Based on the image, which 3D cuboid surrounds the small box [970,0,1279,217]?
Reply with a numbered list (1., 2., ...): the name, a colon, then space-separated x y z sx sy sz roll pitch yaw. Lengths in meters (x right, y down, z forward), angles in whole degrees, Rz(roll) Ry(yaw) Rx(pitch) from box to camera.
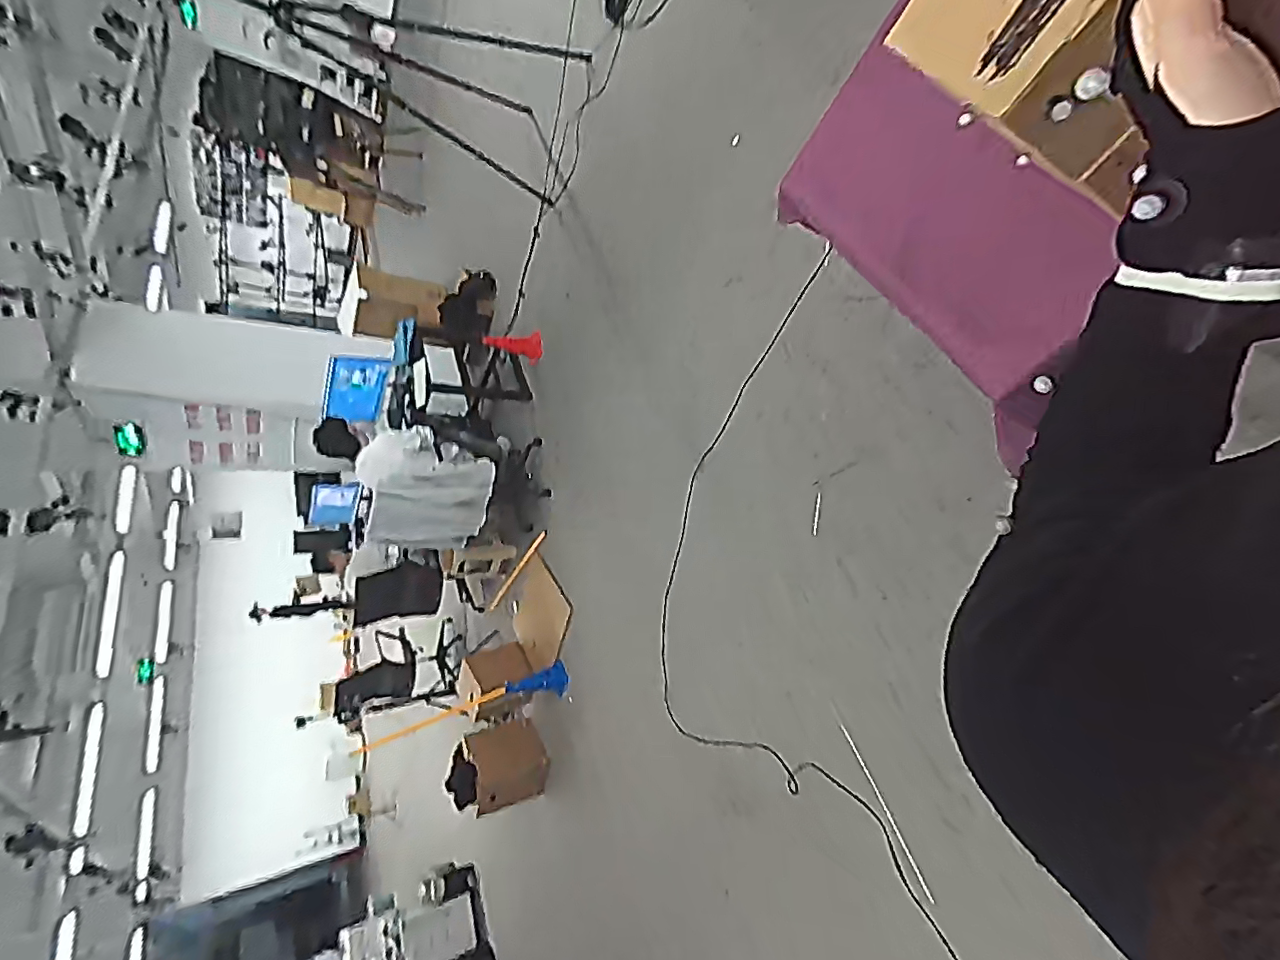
1. small box: 0.517 -0.419 0.588 0.168 0.176 0.179 -53 50 41
